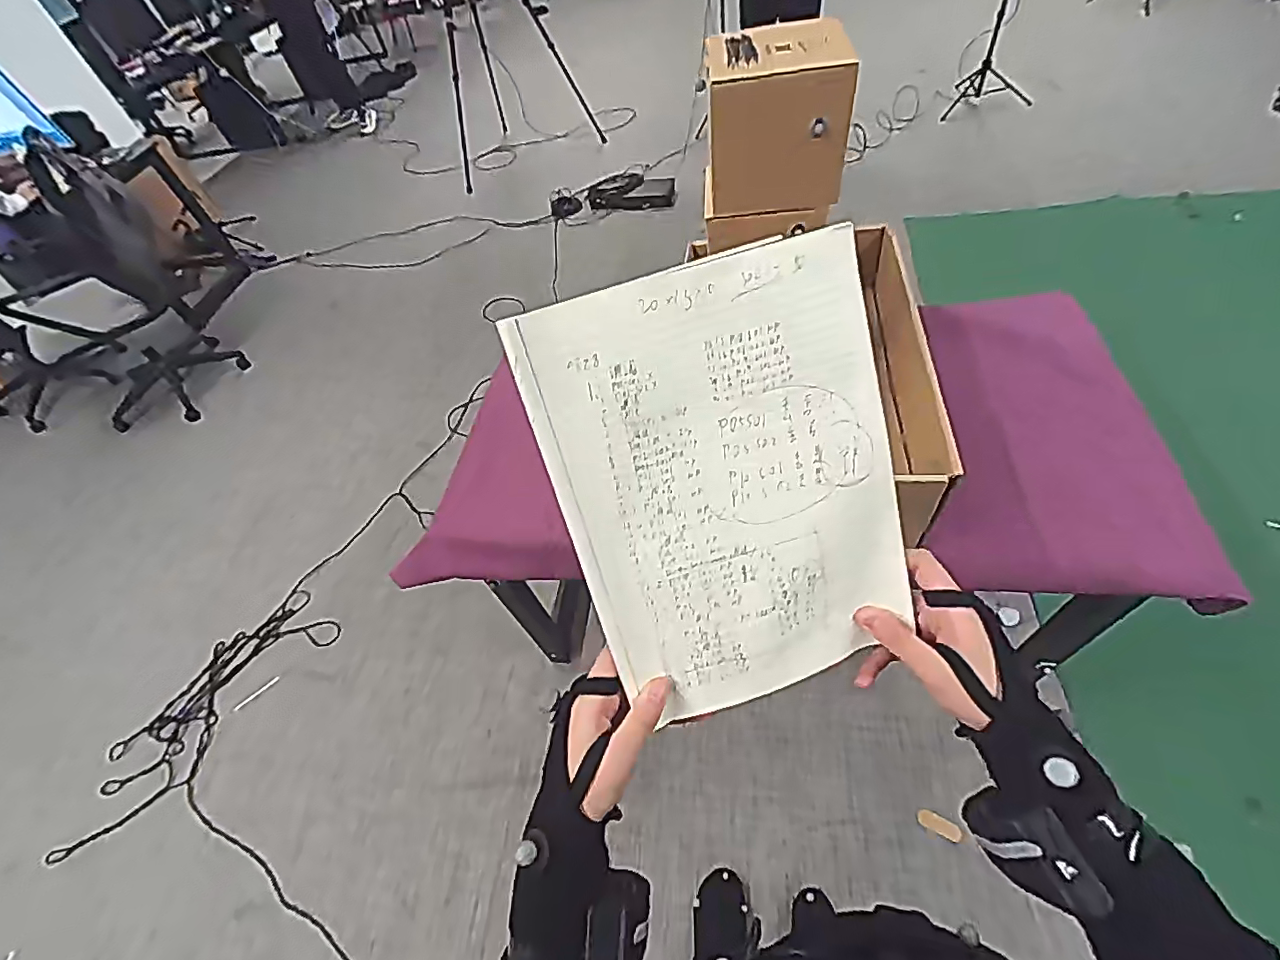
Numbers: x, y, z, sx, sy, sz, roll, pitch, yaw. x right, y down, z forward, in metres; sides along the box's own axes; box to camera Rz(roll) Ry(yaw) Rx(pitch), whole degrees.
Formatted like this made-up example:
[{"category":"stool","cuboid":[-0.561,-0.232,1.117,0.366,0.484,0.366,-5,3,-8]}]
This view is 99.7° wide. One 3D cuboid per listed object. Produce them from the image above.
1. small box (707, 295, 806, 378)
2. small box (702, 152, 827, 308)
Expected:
[{"category":"small box","cuboid":[0.218,-0.305,1.008,0.168,0.176,0.179,1,55,12]},{"category":"small box","cuboid":[0.197,-0.397,0.876,0.179,0.176,0.168,-1,55,10]}]
